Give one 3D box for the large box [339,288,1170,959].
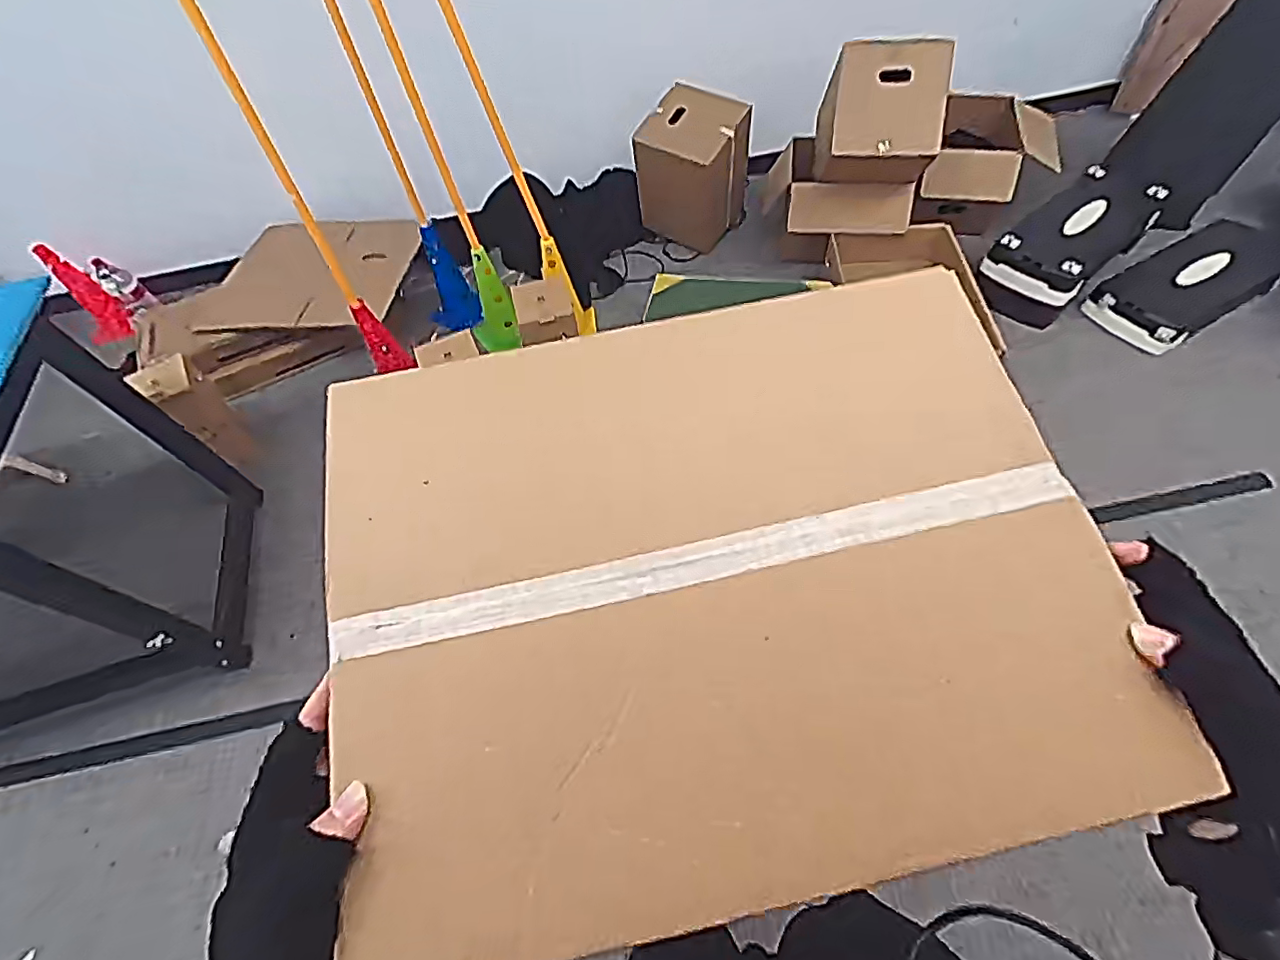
[{"bbox_3d":[0.040,0.102,0.441,0.408,0.320,0.320,-12,69,-2],"label":"large box"}]
